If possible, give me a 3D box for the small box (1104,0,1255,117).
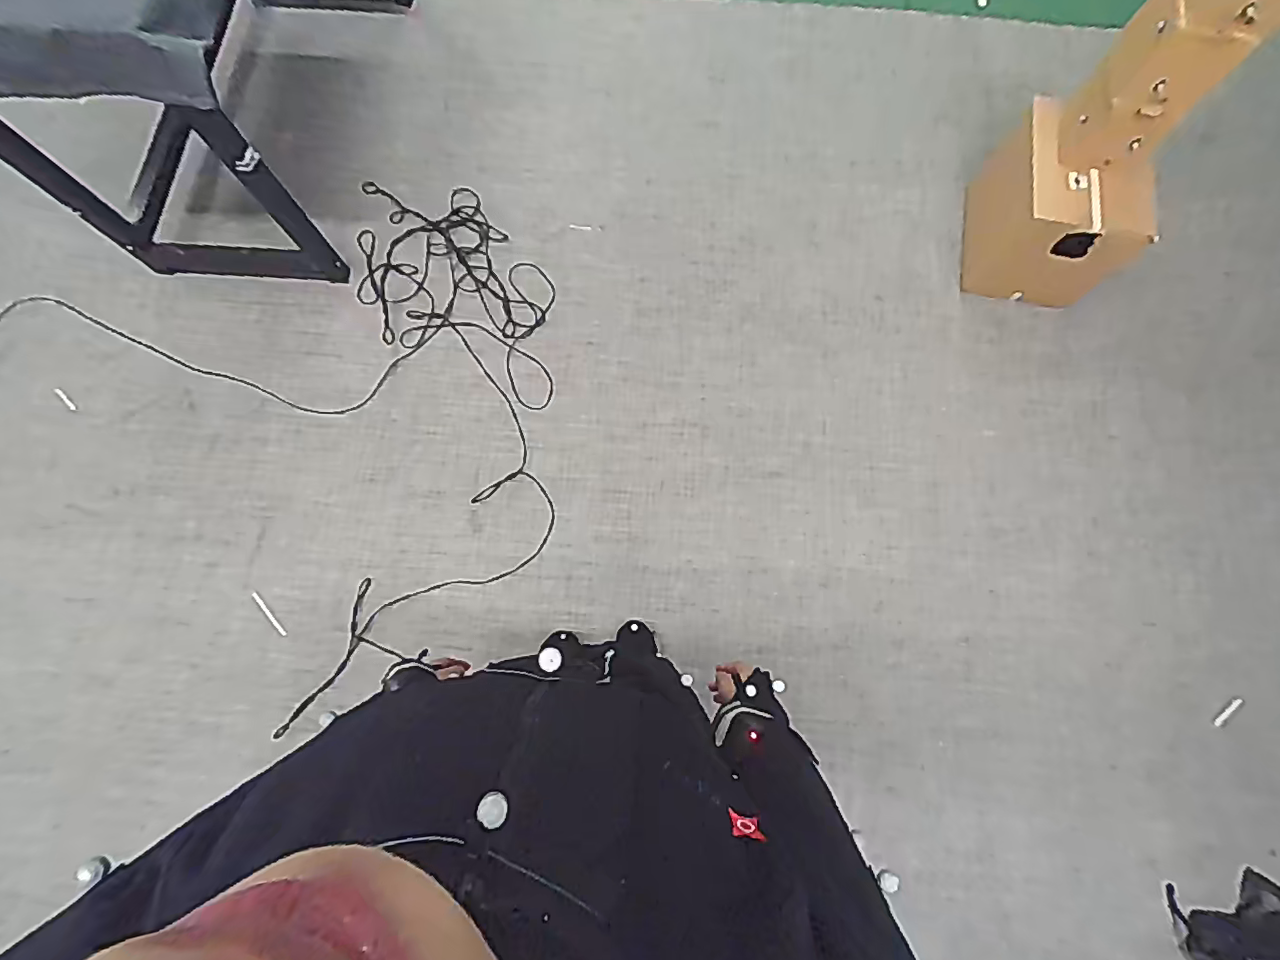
[{"bbox_3d":[1.157,-0.941,1.173,0.168,0.176,0.179,12,76,1],"label":"small box"}]

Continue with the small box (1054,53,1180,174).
[{"bbox_3d":[1.160,-0.891,1.328,0.168,0.176,0.179,10,74,1],"label":"small box"}]

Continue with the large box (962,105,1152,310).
[{"bbox_3d":[1.158,-0.761,1.544,0.320,0.320,0.408,9,76,3],"label":"large box"}]
